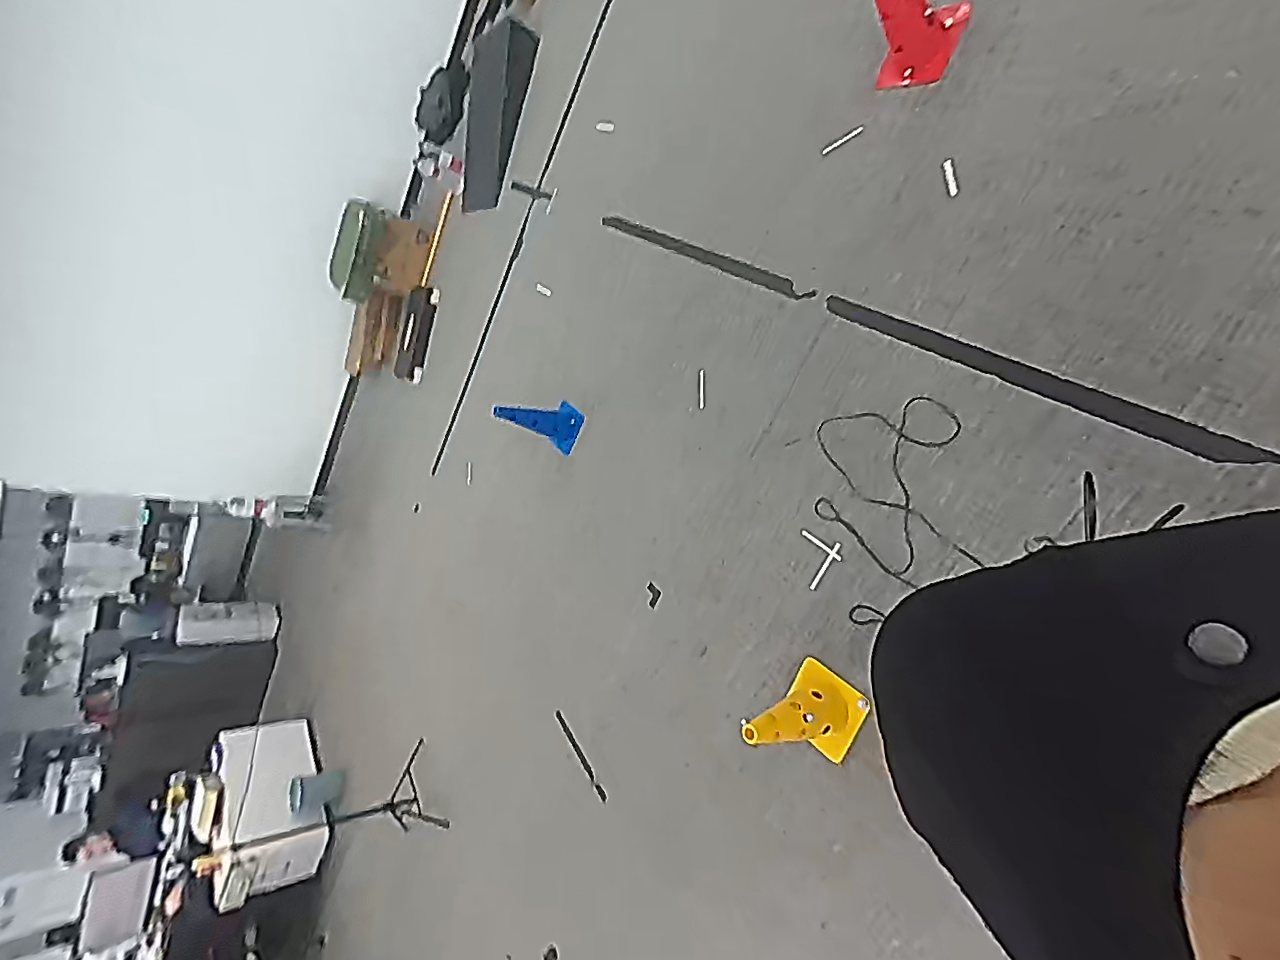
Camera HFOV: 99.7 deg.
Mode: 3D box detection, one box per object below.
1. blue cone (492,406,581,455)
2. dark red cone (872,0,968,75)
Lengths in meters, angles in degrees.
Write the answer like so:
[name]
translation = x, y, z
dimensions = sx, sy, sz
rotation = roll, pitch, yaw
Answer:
[blue cone]
translation = -0.454, -0.246, 2.321
dimensions = 0.193, 0.380, 0.192
rotation = 43, 114, 41
[dark red cone]
translation = 0.635, -1.223, 1.343
dimensions = 0.202, 0.394, 0.201
rotation = 33, 107, 44
